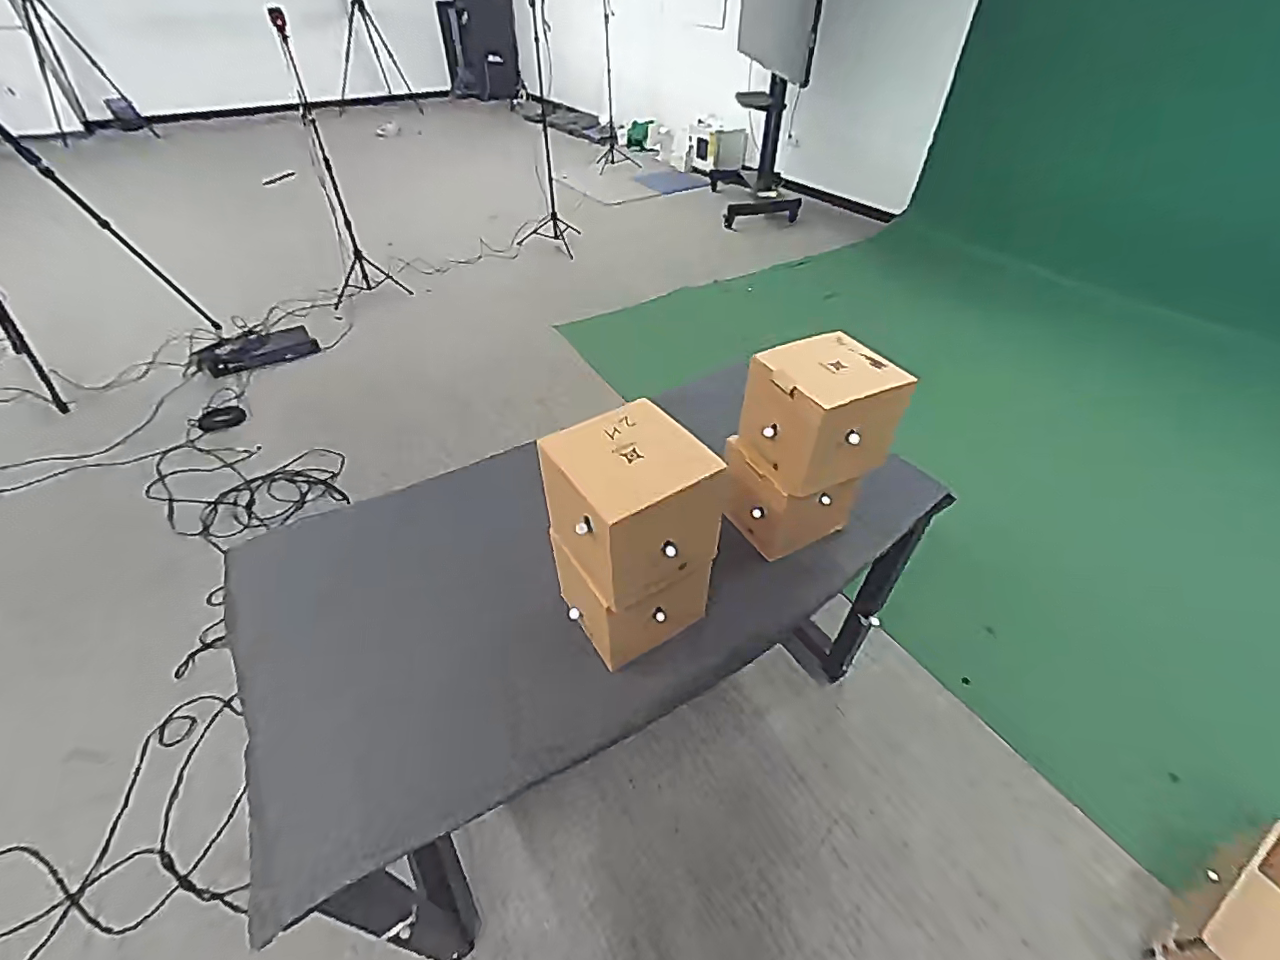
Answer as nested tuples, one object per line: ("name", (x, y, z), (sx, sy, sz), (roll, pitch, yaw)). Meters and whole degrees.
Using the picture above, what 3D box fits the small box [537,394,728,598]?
("small box", (-0.010, 0.024, 0.689), (0.168, 0.176, 0.179), (-25, 48, -24))

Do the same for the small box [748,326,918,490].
("small box", (0.282, -0.110, 0.837), (0.179, 0.176, 0.168), (-19, 47, -19))

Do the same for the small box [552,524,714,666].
("small box", (-0.012, 0.139, 0.807), (0.179, 0.176, 0.168), (-24, 48, -22))

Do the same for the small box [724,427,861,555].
("small box", (0.262, 0.003, 0.955), (0.179, 0.176, 0.168), (-20, 47, -22))
